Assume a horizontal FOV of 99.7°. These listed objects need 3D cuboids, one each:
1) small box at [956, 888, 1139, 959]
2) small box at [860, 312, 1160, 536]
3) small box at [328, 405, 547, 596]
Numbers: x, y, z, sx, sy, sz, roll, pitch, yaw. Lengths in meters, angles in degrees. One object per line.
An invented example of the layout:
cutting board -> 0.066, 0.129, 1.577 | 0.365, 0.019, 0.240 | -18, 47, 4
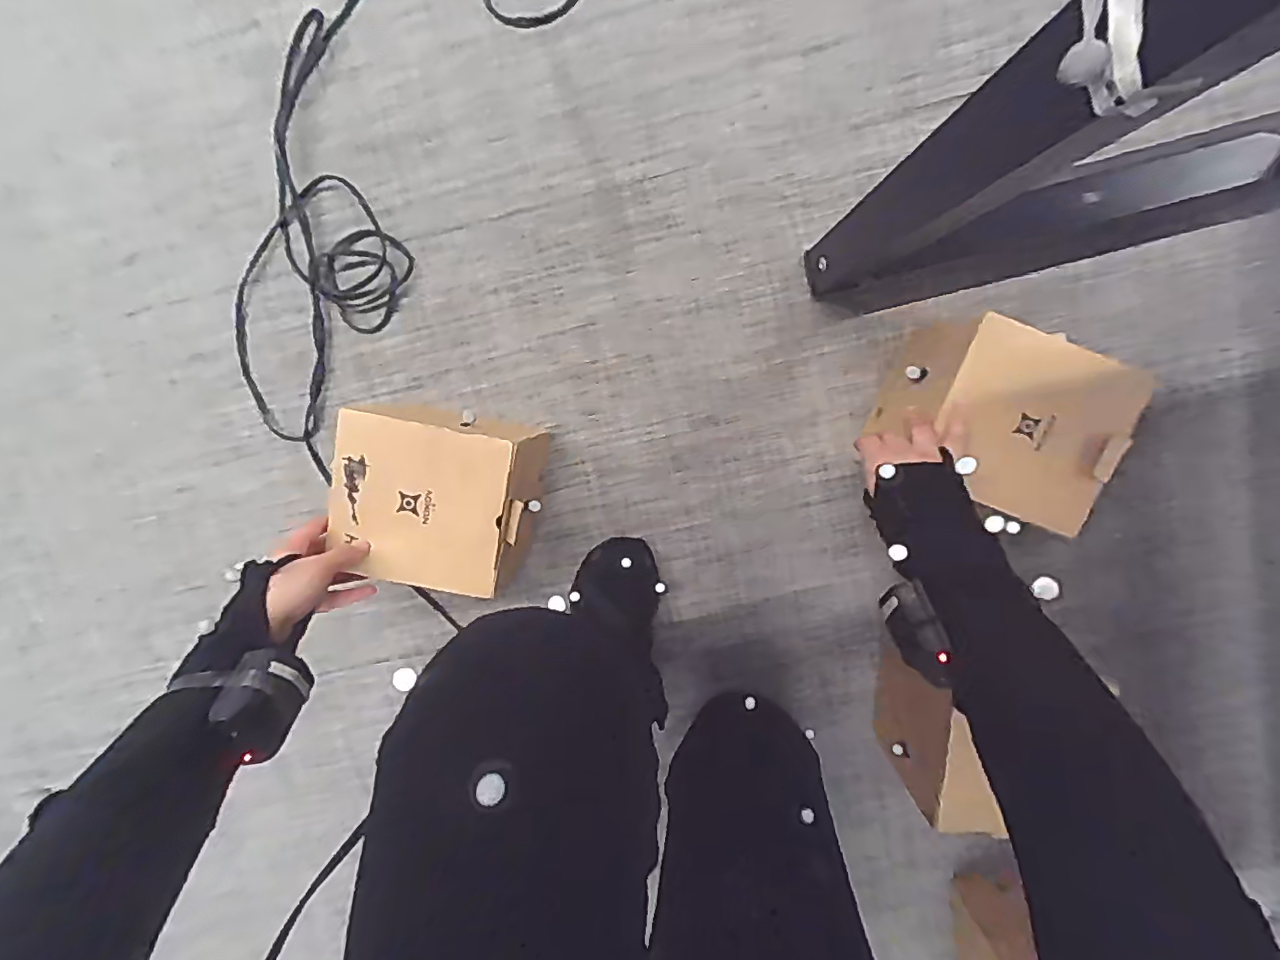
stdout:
small box -> 0.524, 0.654, 0.680 | 0.168, 0.176, 0.179 | -7, 99, 3
small box -> 0.369, -0.059, 0.581 | 0.179, 0.176, 0.168 | 20, 98, -2
small box -> -0.211, 0.011, 0.609 | 0.179, 0.176, 0.168 | 11, 98, -1
